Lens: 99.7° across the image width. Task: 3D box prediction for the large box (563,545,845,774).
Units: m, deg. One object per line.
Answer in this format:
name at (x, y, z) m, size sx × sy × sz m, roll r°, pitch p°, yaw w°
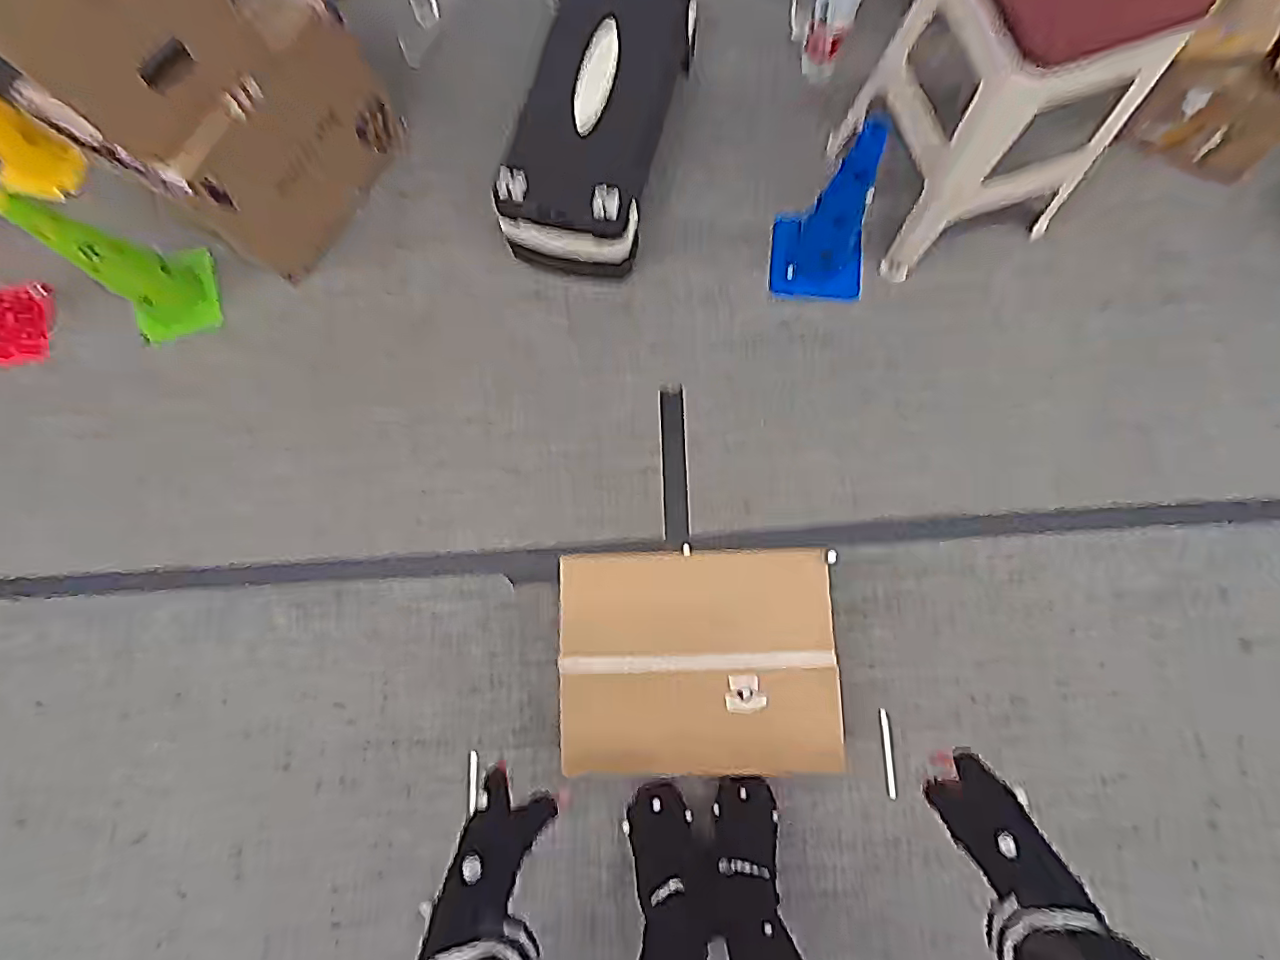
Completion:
large box at (0.090, 0.287, 0.940) m, size 0.408 × 0.320 × 0.320 m, roll -2°, pitch 80°, yaw 1°
